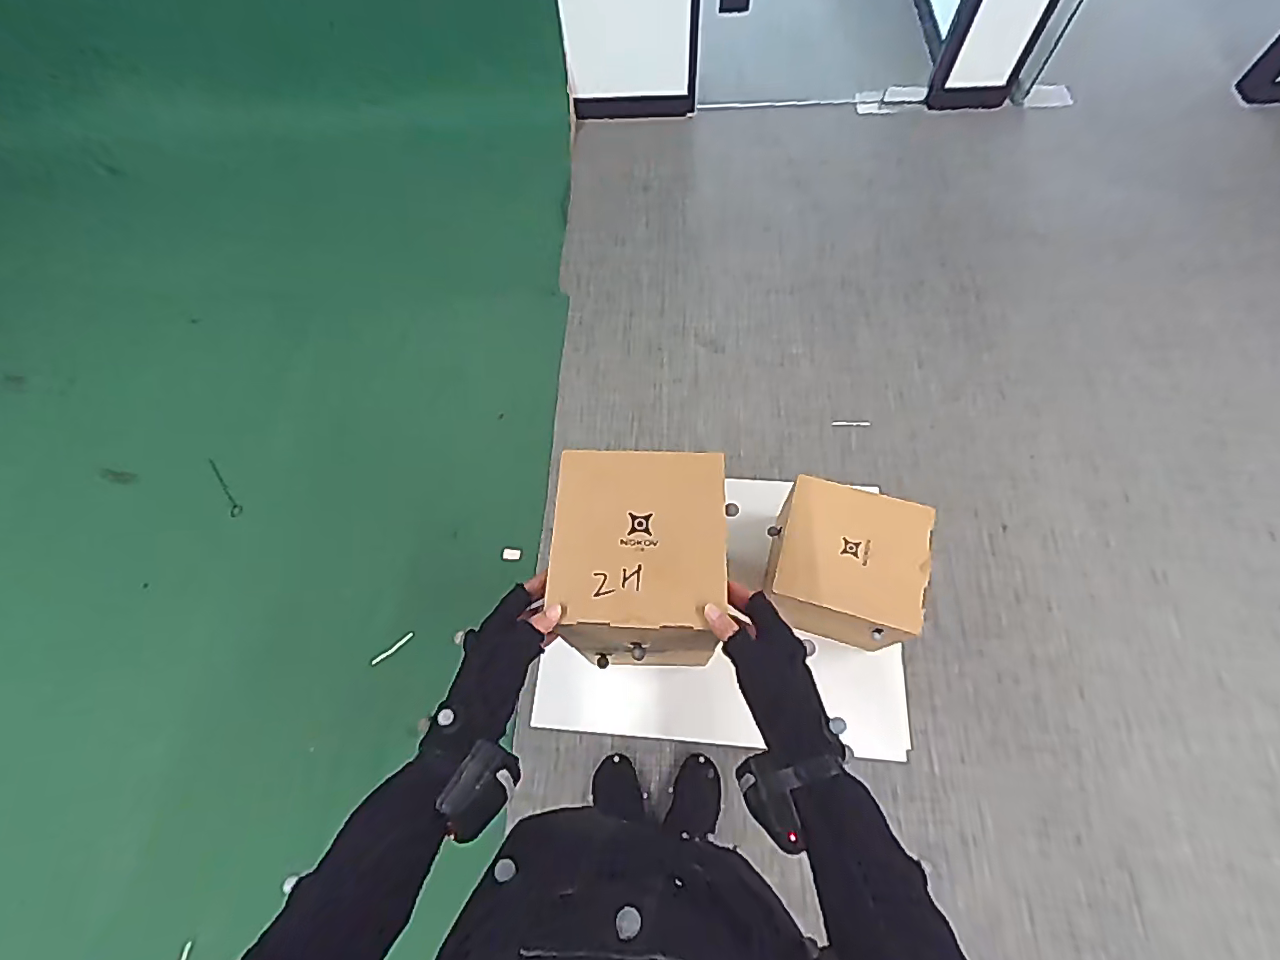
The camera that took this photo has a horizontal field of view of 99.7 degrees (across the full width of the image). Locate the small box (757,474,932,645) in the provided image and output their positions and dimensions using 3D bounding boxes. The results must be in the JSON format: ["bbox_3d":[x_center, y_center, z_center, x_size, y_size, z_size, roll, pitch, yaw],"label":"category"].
[{"bbox_3d":[0.266,0.116,0.736,0.179,0.176,0.168,14,68,10],"label":"small box"}]

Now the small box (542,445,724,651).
[{"bbox_3d":[0.000,0.080,0.585,0.168,0.176,0.179,2,66,4],"label":"small box"}]
